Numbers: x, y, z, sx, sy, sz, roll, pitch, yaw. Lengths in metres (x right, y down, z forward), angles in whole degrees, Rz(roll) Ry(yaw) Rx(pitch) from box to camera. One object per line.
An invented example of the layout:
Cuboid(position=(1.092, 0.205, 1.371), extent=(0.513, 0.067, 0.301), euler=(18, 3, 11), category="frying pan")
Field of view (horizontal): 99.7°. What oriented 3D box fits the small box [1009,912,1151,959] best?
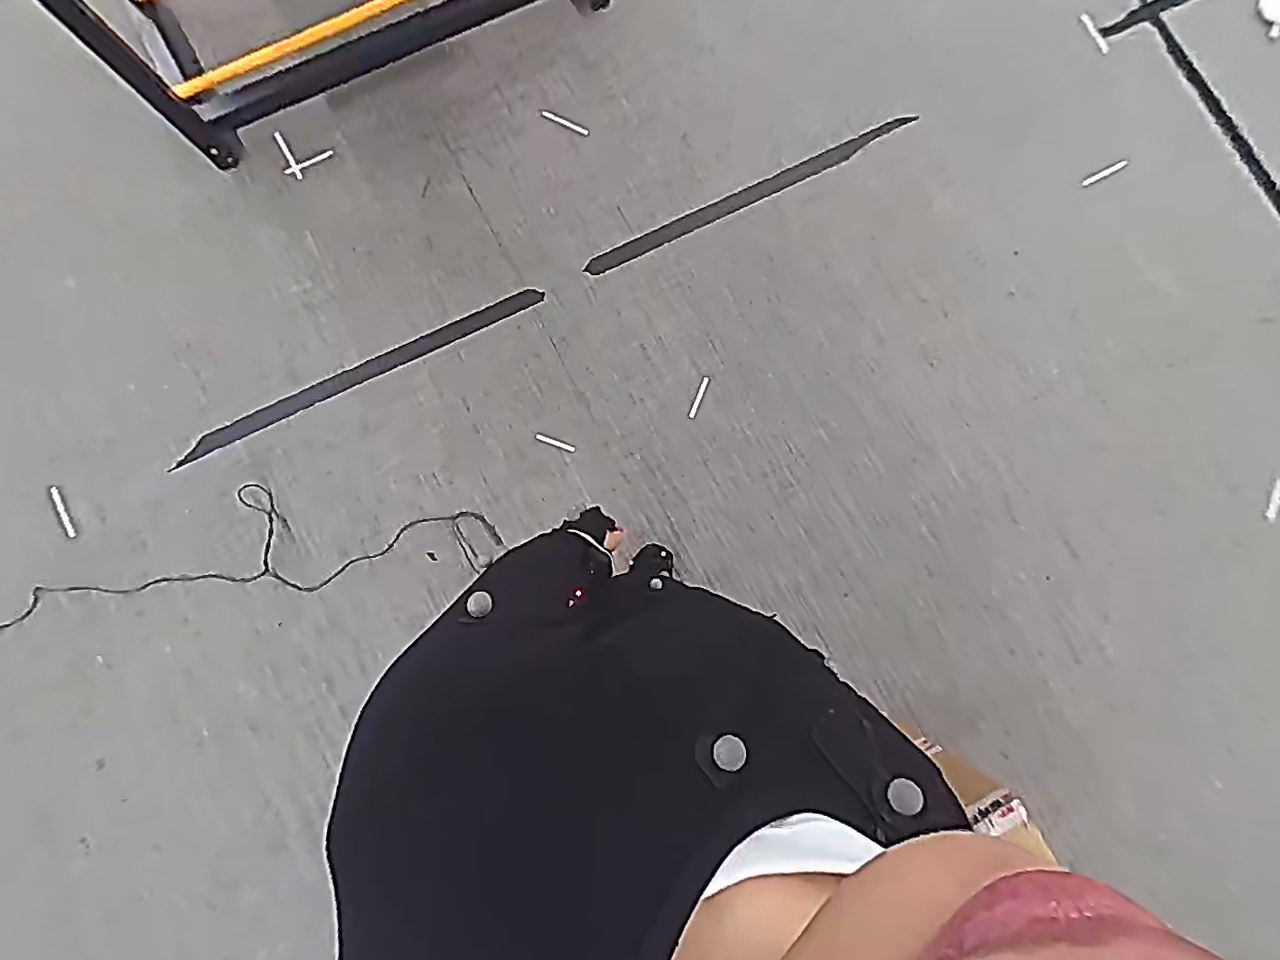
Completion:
Cuboid(position=(0.666, 0.777, 0.762), extent=(0.179, 0.176, 0.168), euler=(-28, 84, -7), category="small box")
